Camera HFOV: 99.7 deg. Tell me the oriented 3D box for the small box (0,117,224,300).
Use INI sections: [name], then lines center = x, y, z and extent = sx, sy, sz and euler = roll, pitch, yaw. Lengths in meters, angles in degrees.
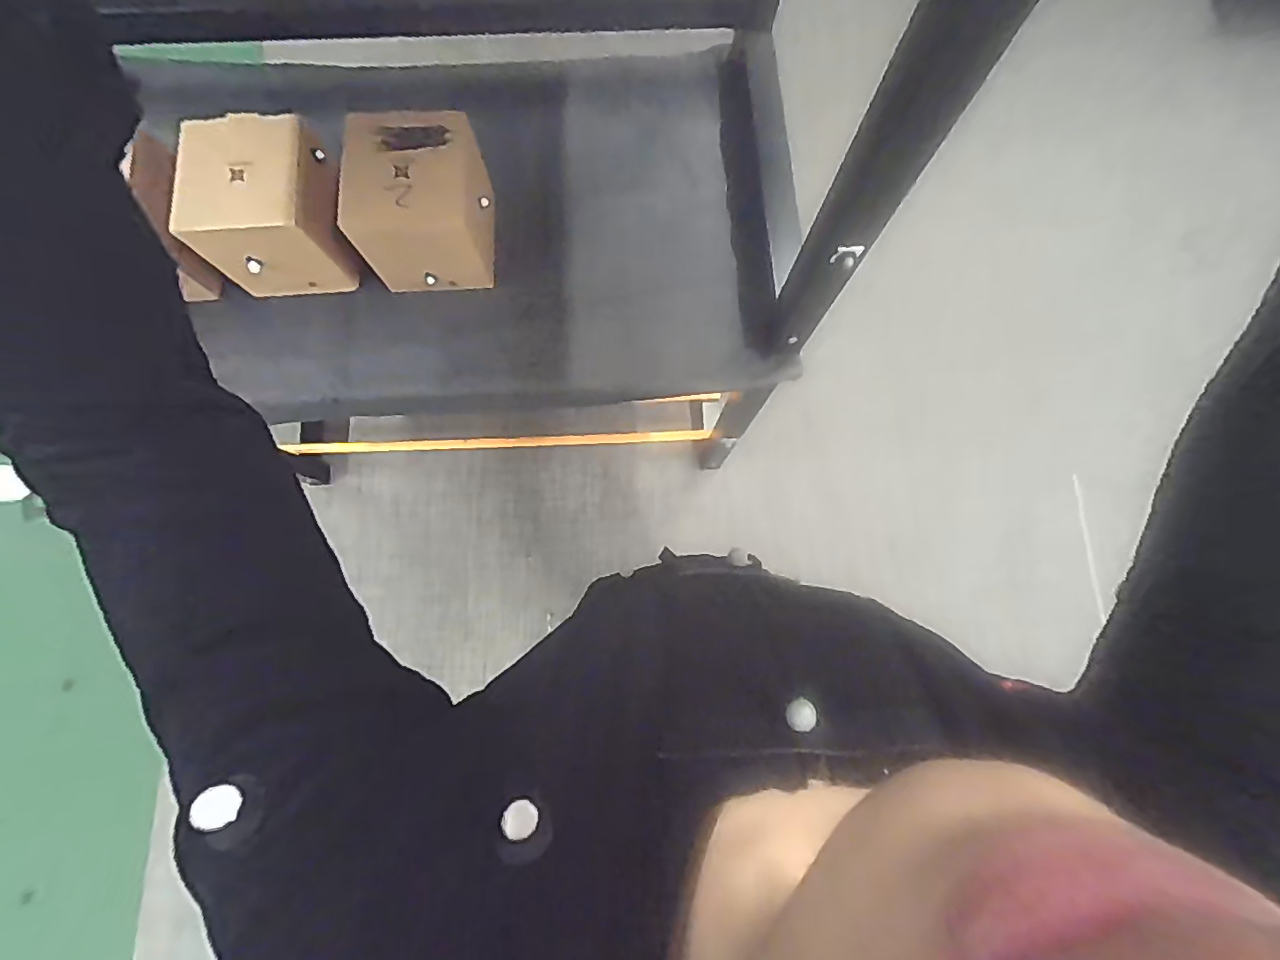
[small box]
center = -0.756, -0.389, 0.795
extent = 0.168, 0.176, 0.179
euler = -5, 79, -1
